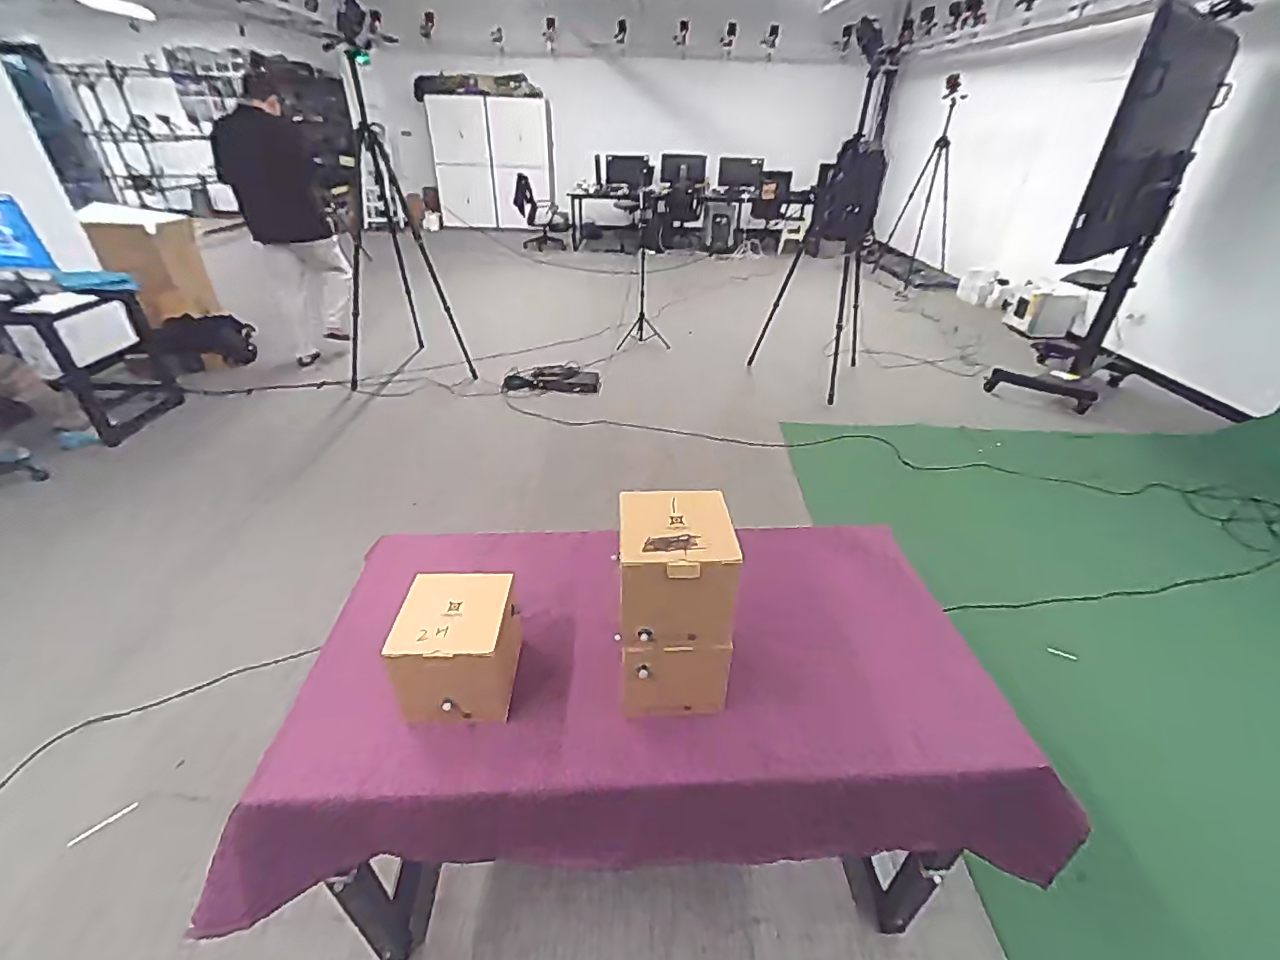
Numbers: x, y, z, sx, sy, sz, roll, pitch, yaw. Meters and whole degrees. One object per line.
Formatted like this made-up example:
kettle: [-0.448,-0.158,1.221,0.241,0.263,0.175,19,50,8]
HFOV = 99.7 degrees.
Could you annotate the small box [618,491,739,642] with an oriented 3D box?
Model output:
small box: [0.051,0.133,0.836,0.168,0.176,0.179,-1,31,-3]

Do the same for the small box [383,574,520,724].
small box: [-0.299,0.278,0.902,0.168,0.176,0.179,0,33,-2]
